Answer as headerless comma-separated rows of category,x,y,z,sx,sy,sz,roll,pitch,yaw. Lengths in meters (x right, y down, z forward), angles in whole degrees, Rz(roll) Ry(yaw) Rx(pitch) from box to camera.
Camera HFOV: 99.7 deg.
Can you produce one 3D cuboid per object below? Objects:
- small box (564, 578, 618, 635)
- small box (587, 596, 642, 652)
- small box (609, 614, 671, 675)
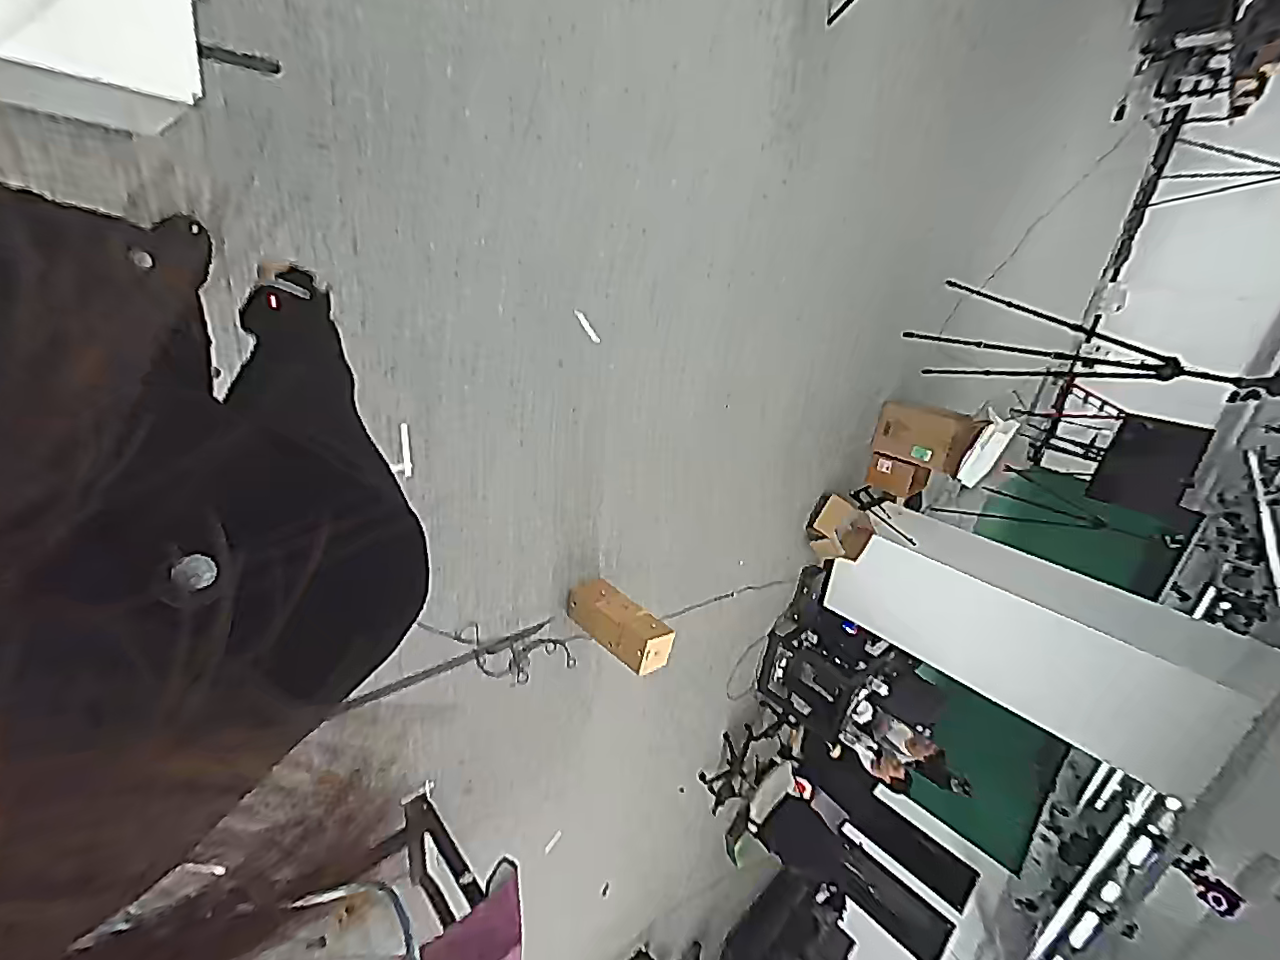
small box,-0.227,0.576,2.491,0.179,0.176,0.168,-13,119,-43
small box,-0.116,0.632,2.387,0.168,0.176,0.179,-12,118,-44
small box,-0.003,0.685,2.280,0.179,0.176,0.168,-3,112,-48
